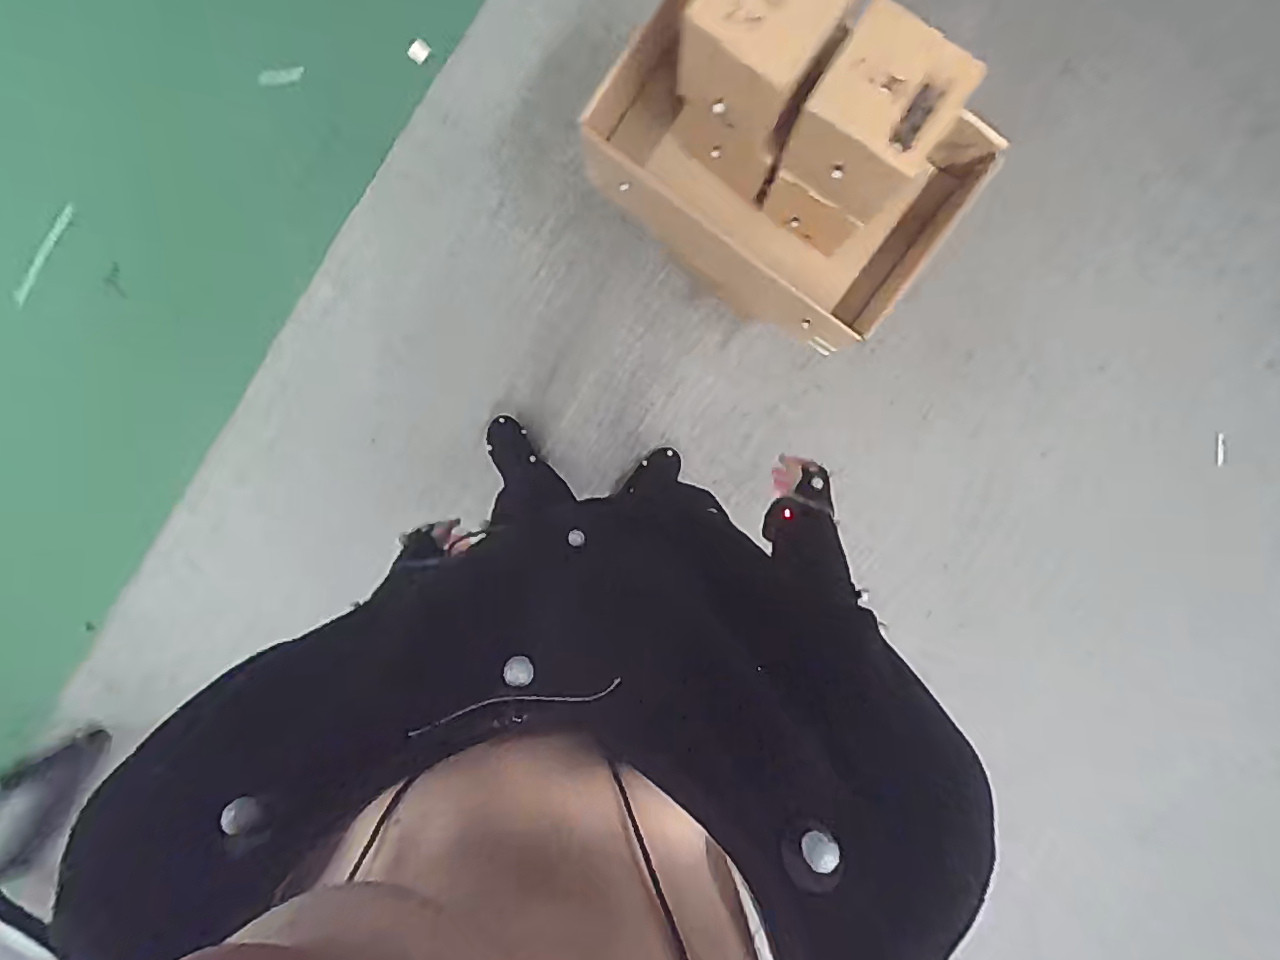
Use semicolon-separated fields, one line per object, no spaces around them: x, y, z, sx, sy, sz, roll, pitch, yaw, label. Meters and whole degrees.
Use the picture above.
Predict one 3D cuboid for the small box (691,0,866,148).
0.186;-0.632;0.773;0.168;0.176;0.179;38;95;-2;small box
